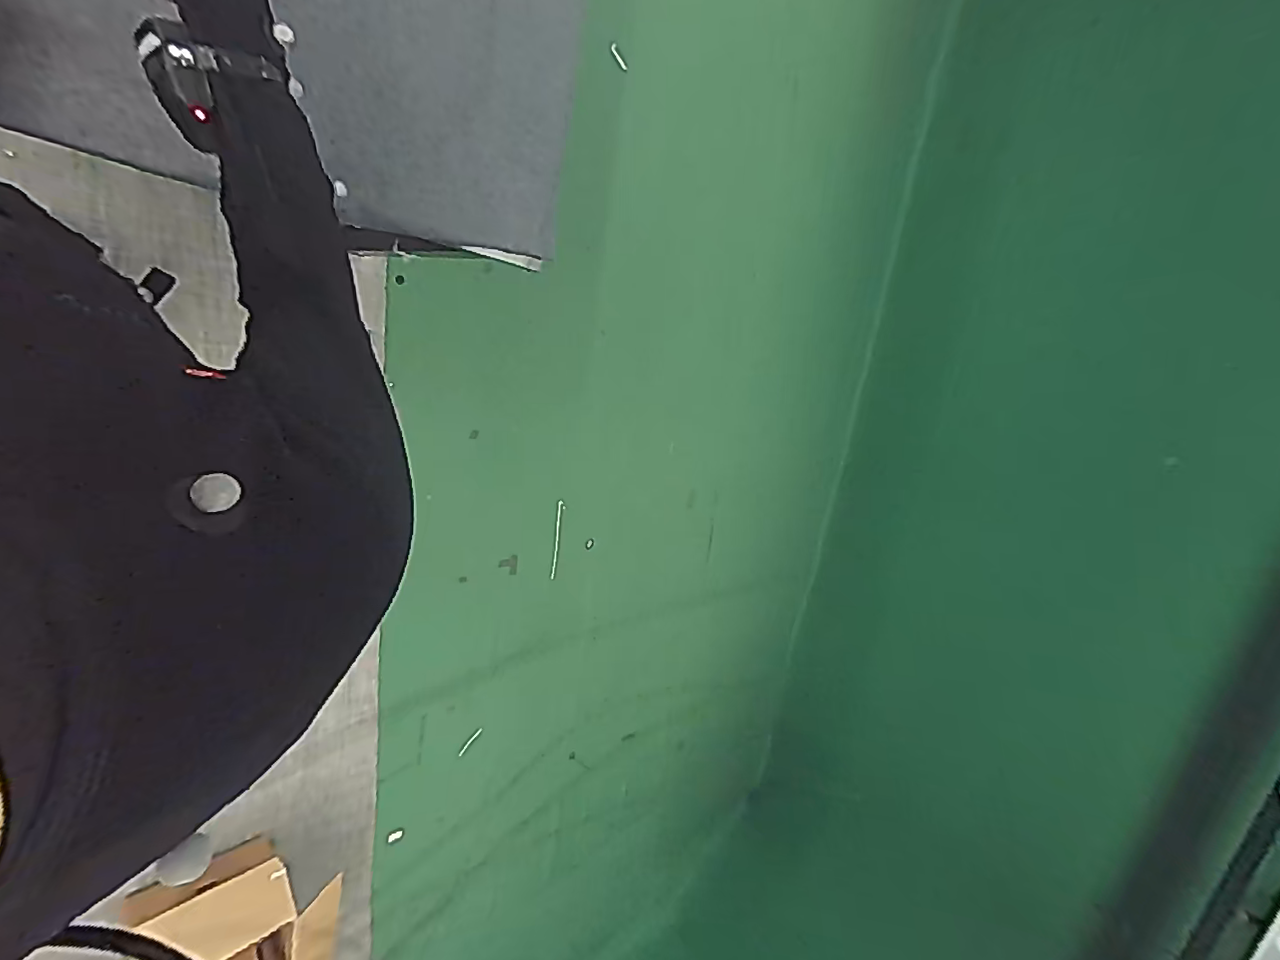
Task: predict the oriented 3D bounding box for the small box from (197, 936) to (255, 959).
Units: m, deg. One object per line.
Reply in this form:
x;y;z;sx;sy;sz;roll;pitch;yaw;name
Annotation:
-1.045;1.285;1.314;0.179;0.176;0.168;-1;108;-48;small box
